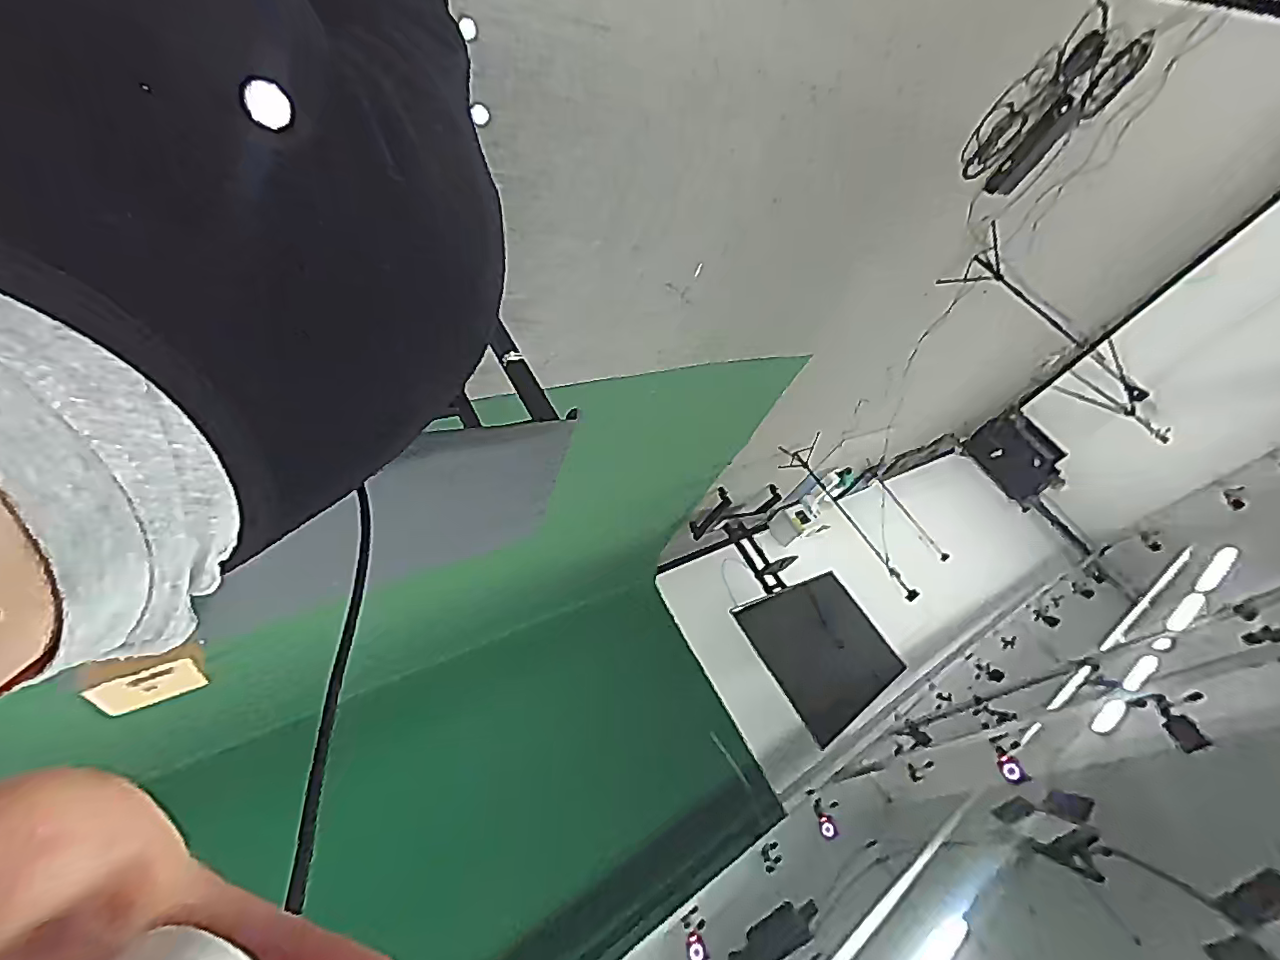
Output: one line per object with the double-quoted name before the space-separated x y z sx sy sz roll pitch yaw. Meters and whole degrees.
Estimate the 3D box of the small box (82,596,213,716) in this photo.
"small box" -1.054 0.370 1.163 0.168 0.176 0.179 -16 152 -34
